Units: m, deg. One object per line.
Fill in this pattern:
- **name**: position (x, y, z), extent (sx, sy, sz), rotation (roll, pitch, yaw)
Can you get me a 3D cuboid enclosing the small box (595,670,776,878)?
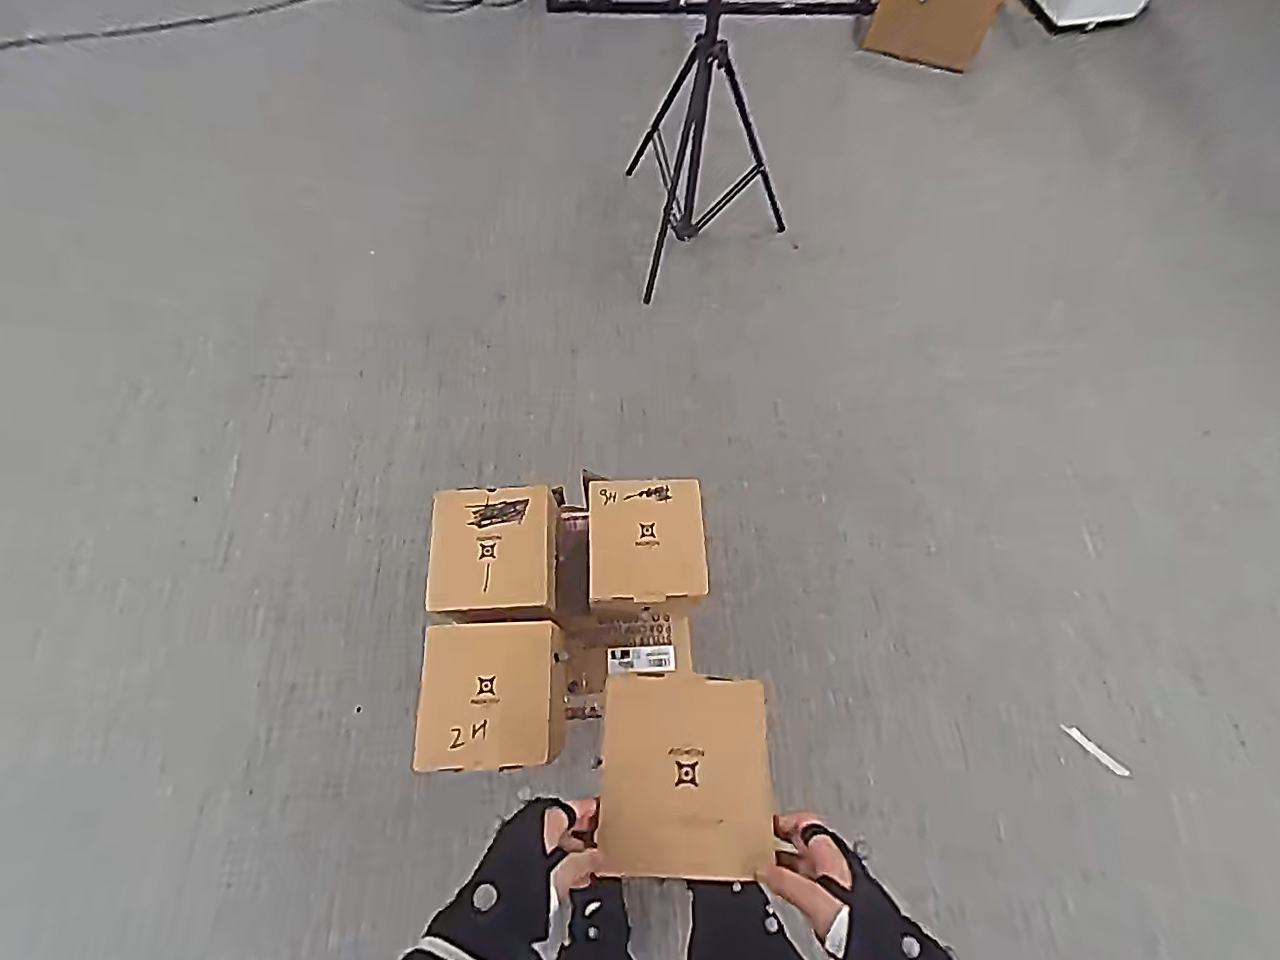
- **small box**: position (0.039, 0.322, 0.598), extent (0.168, 0.176, 0.179), rotation (4, 59, -3)
